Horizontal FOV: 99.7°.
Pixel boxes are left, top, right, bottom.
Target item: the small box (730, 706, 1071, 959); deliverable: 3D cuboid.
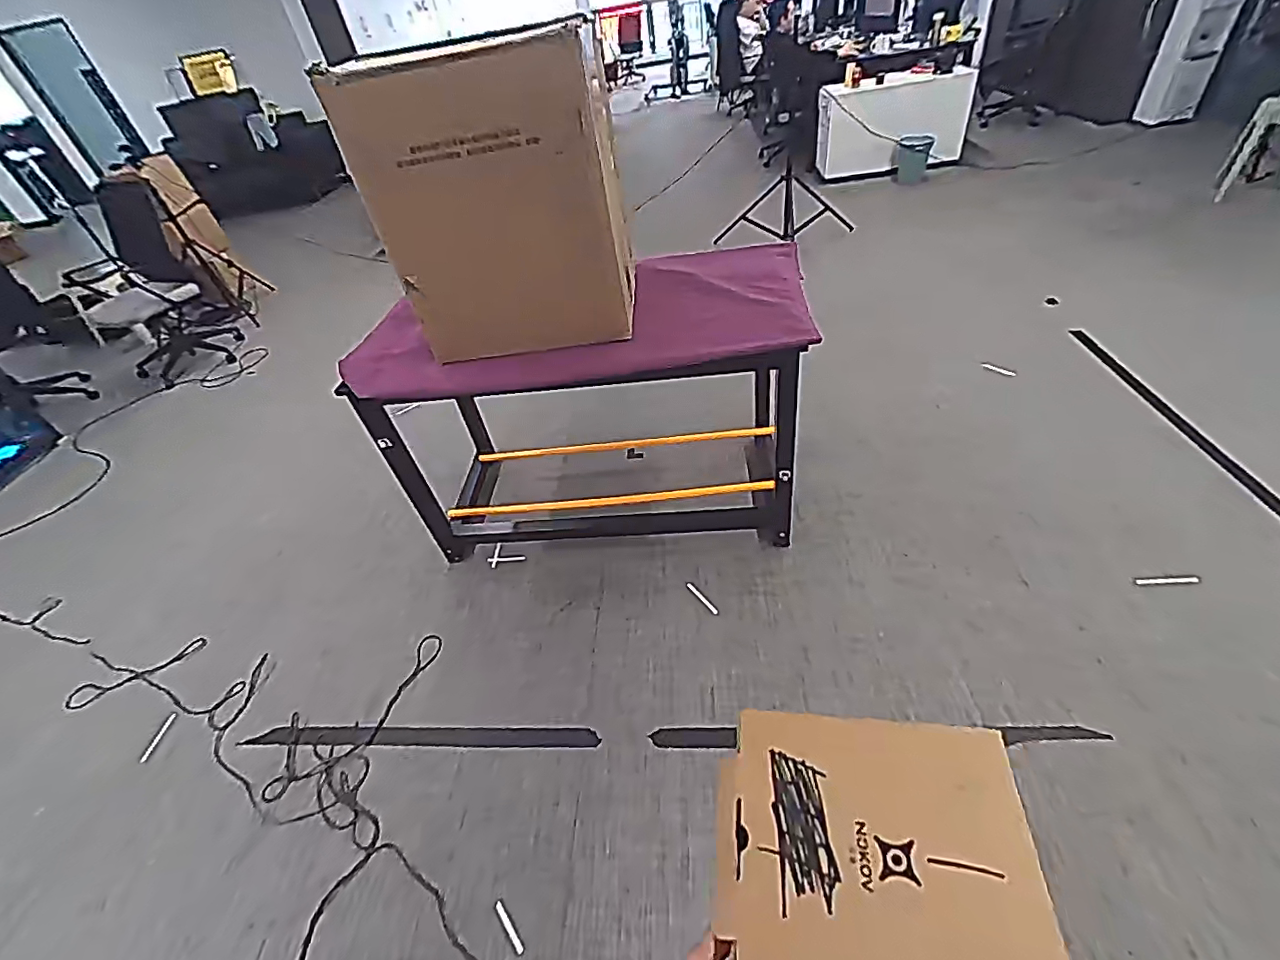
[{"bbox_3d":[0.158,0.280,0.380,0.179,0.176,0.168,0,46,12],"label":"small box"}]
